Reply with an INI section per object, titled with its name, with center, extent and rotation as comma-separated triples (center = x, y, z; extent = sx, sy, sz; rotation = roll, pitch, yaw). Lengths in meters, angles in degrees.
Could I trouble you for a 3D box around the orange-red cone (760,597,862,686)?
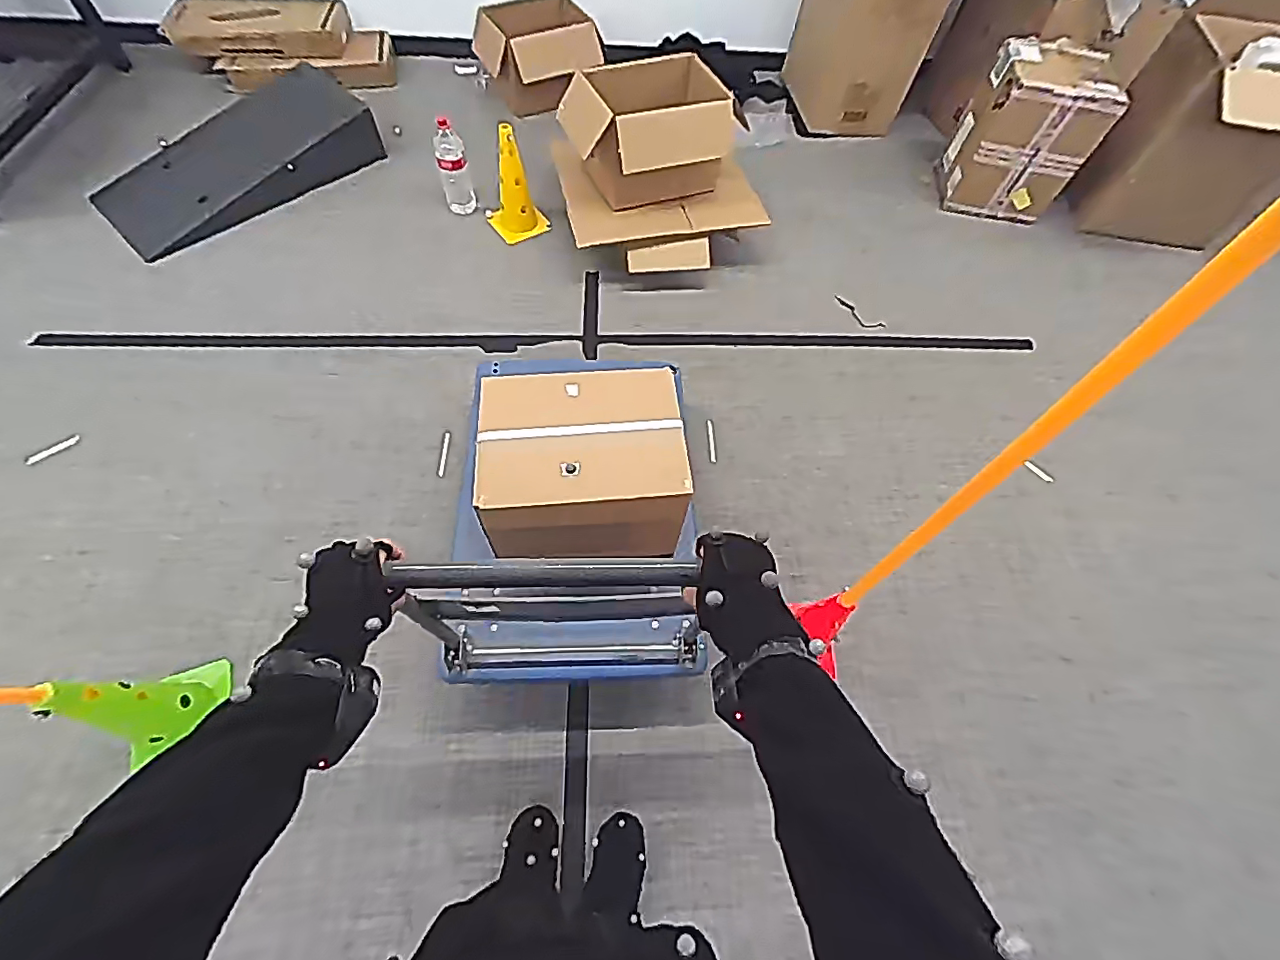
[orange-red cone]
center = 0.415, 0.332, 1.223
extent = 0.199, 0.360, 0.198
rotation = 6, 61, -1
